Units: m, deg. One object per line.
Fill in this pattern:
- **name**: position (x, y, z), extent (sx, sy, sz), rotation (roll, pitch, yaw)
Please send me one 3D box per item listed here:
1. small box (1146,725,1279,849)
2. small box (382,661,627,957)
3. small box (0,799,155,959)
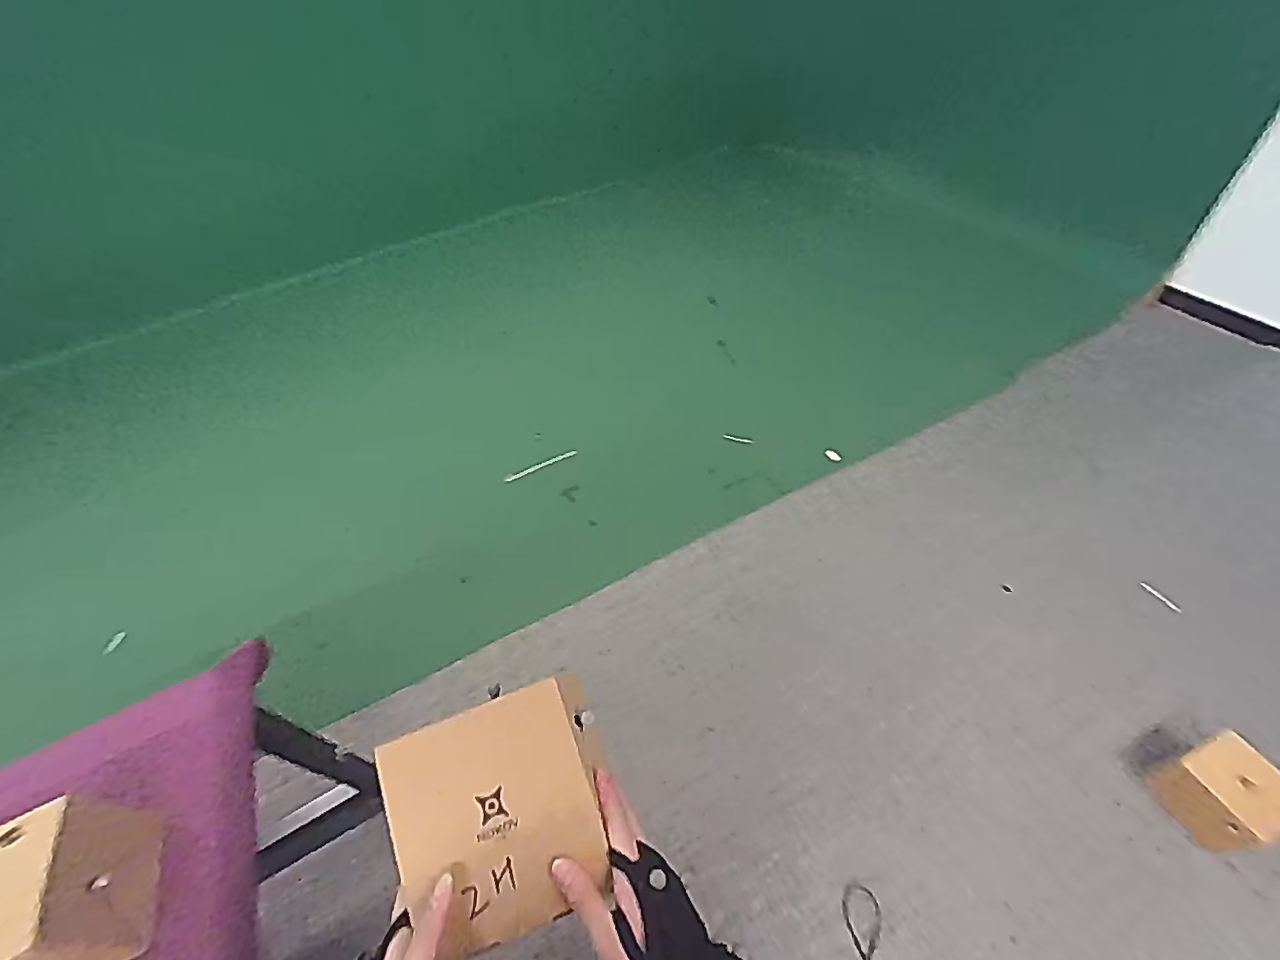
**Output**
- **small box**: position (1.318, 0.694, 1.217), extent (0.168, 0.176, 0.179), rotation (-23, 51, -11)
- **small box**: position (-0.116, 0.286, 0.519), extent (0.168, 0.176, 0.179), rotation (-19, 74, -5)
- **small box**: position (-0.780, 0.550, 0.696), extent (0.168, 0.176, 0.179), rotation (-24, 52, -11)
